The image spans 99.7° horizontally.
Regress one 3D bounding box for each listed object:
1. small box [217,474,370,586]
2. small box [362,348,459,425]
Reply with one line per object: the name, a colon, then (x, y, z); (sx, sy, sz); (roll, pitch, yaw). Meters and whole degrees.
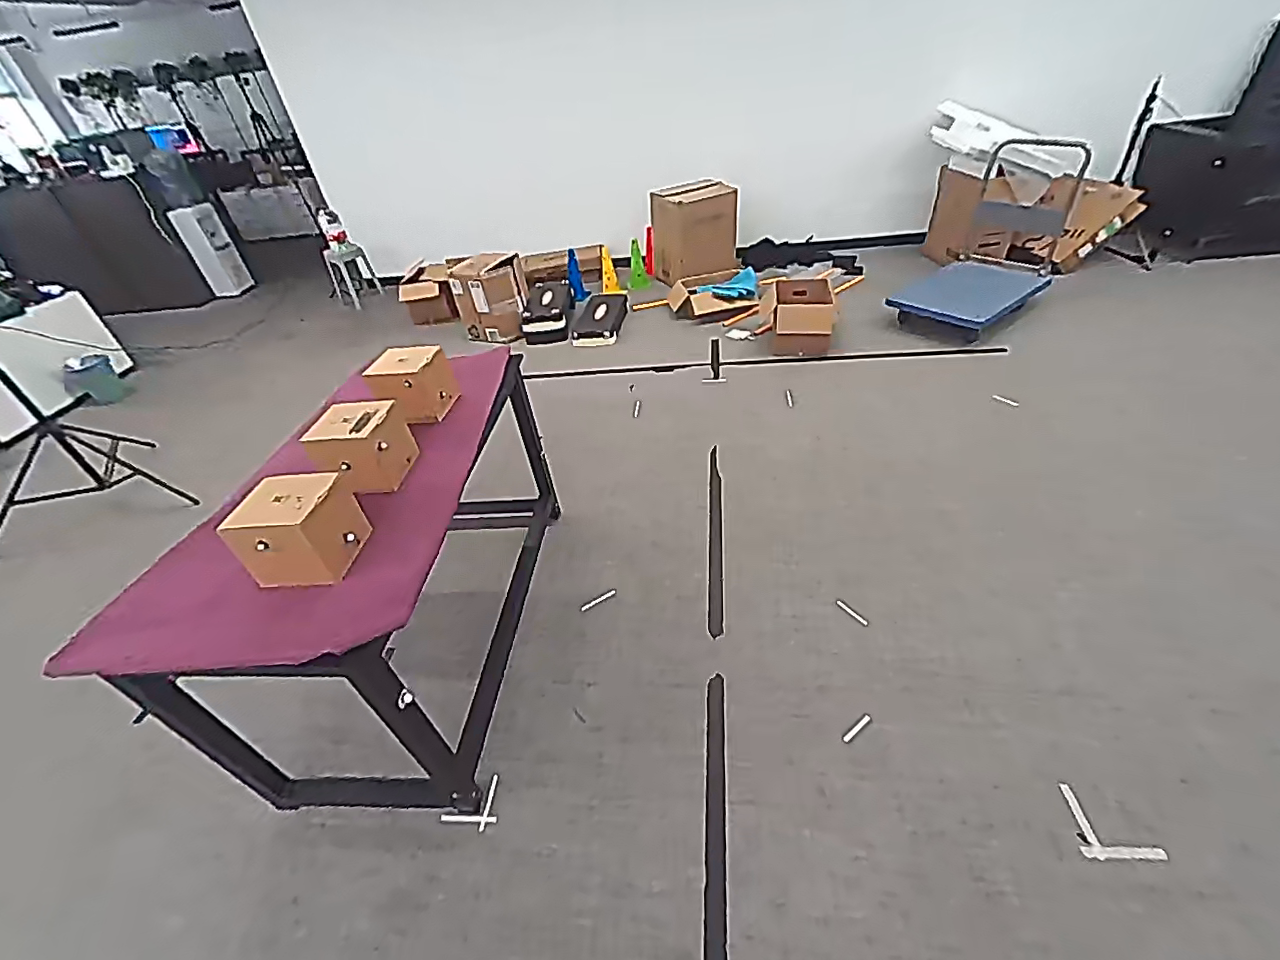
small box: (-0.704, 0.106, 1.124); (0.179, 0.176, 0.168); (-3, 38, 5)
small box: (-0.667, -0.272, 1.591); (0.179, 0.176, 0.168); (-1, 39, 10)
